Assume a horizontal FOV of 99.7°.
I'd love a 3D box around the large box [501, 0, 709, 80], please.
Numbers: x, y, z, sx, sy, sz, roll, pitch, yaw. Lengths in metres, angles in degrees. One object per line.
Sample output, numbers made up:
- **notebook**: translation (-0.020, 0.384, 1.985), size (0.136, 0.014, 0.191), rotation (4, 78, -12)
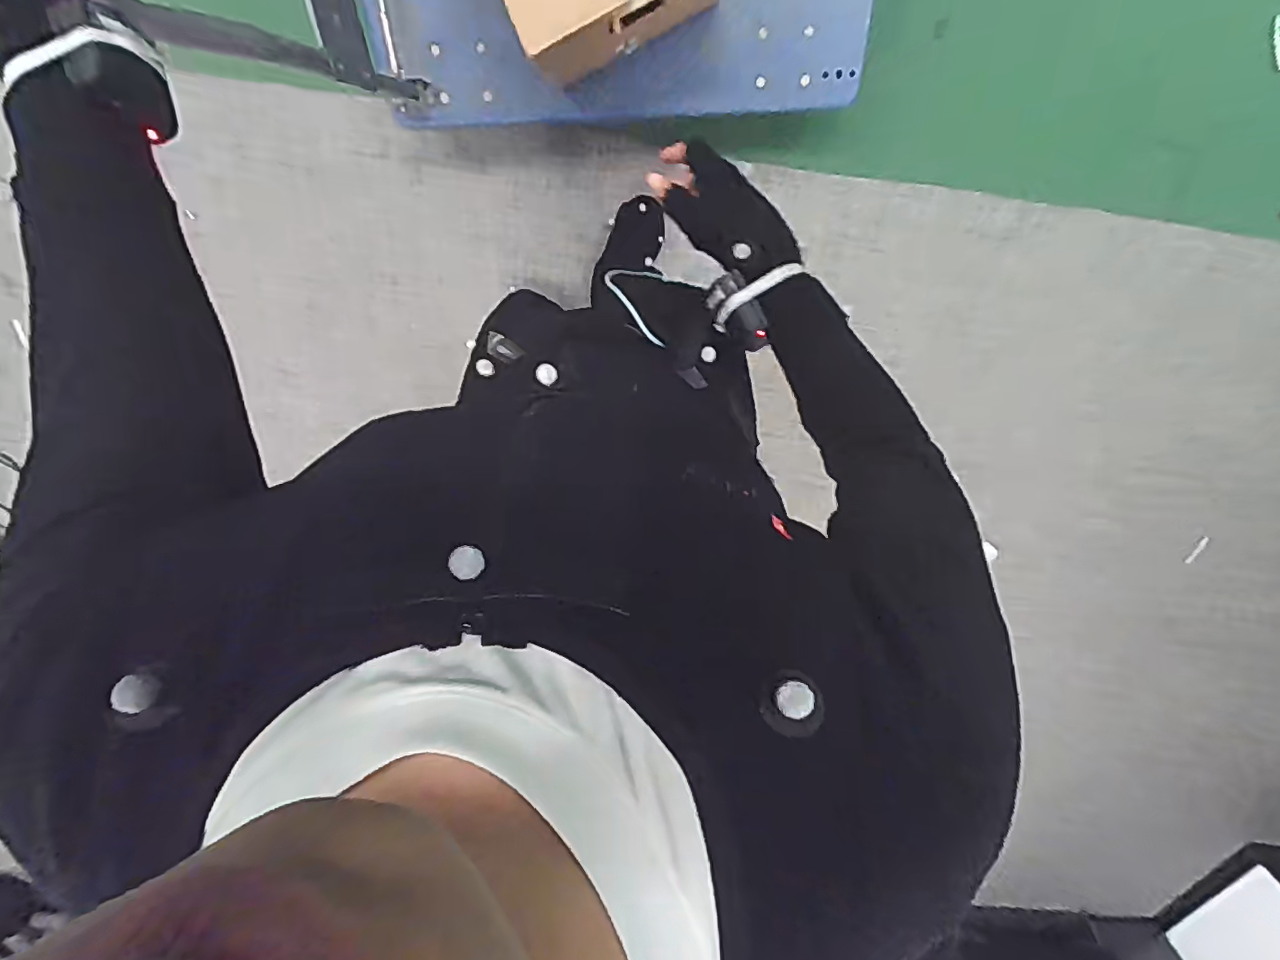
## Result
- **large box**: translation (-0.085, -0.853, 0.729), size (0.320, 0.320, 0.408), rotation (-19, 117, 11)
